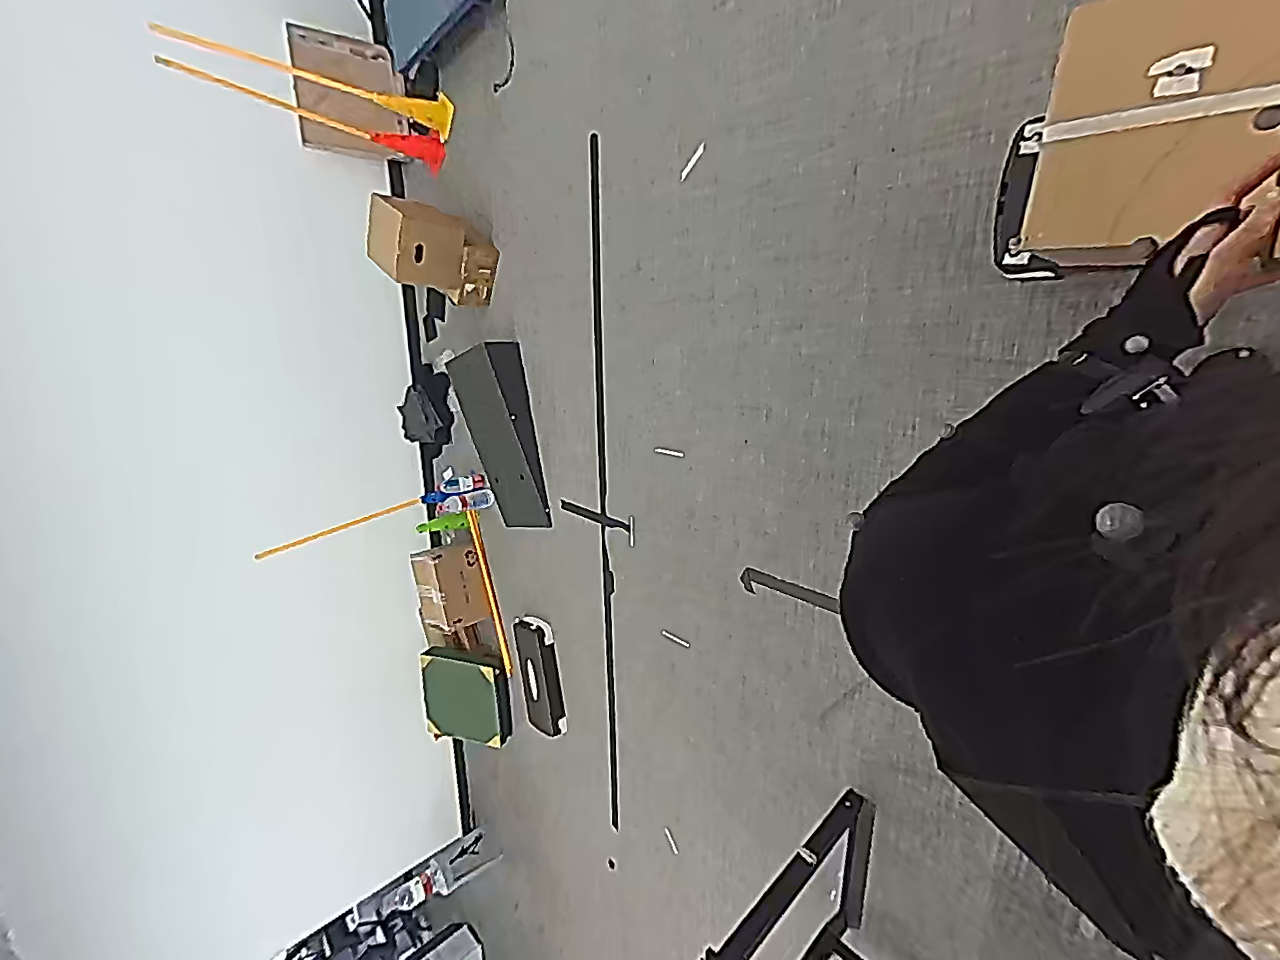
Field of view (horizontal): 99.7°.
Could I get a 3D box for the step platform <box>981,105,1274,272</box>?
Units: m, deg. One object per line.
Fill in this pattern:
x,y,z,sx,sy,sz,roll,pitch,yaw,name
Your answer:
0.988,-0.507,0.918,0.684,0.204,0.286,23,116,43,step platform

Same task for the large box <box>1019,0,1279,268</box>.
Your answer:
0.828,-0.472,0.742,0.408,0.320,0.320,20,114,44,large box

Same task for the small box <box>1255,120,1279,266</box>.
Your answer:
0.470,-0.212,0.278,0.179,0.176,0.168,9,108,43,small box
